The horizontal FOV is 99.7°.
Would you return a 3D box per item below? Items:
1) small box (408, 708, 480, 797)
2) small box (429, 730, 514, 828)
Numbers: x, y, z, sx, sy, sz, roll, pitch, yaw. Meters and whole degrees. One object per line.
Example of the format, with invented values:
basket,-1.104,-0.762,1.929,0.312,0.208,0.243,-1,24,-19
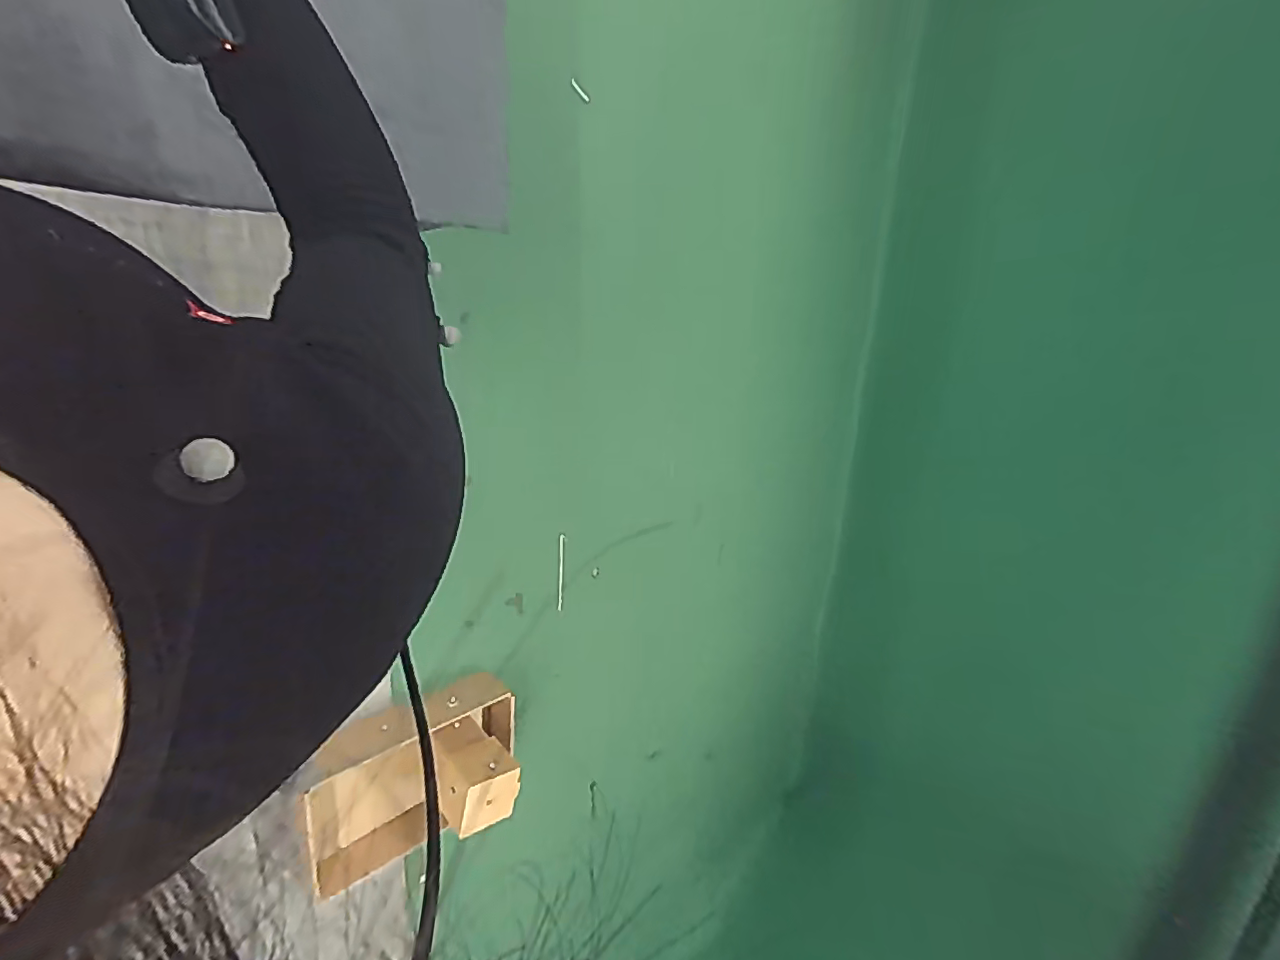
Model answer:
small box,-0.626,0.871,1.745,0.168,0.176,0.179,10,97,-48
small box,-0.512,0.892,1.630,0.179,0.176,0.168,3,103,-47
